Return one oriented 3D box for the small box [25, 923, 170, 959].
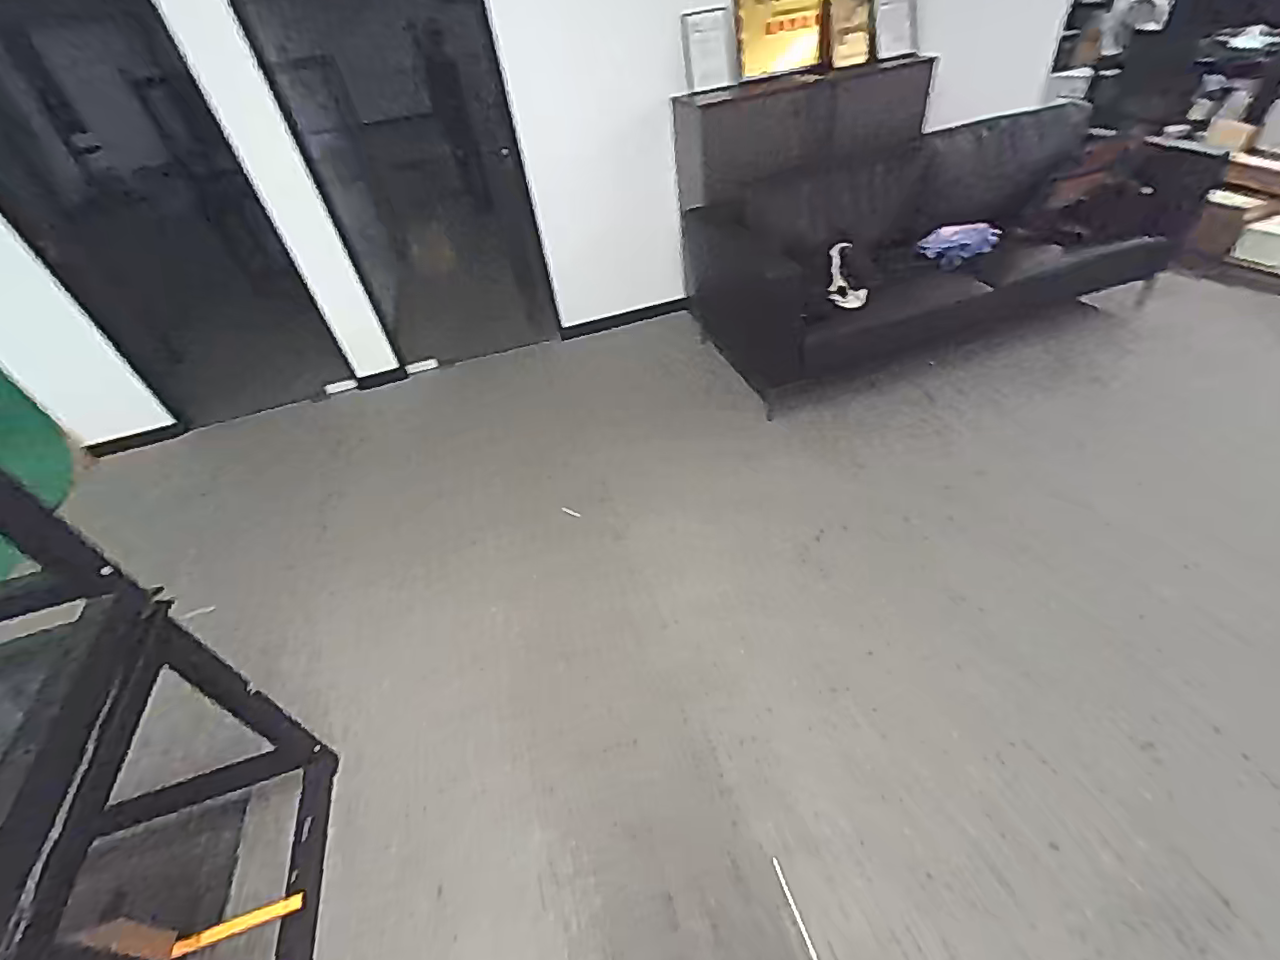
[{"bbox_3d":[-1.071,1.001,1.043,0.168,0.176,0.179,-14,42,-6],"label":"small box"}]
